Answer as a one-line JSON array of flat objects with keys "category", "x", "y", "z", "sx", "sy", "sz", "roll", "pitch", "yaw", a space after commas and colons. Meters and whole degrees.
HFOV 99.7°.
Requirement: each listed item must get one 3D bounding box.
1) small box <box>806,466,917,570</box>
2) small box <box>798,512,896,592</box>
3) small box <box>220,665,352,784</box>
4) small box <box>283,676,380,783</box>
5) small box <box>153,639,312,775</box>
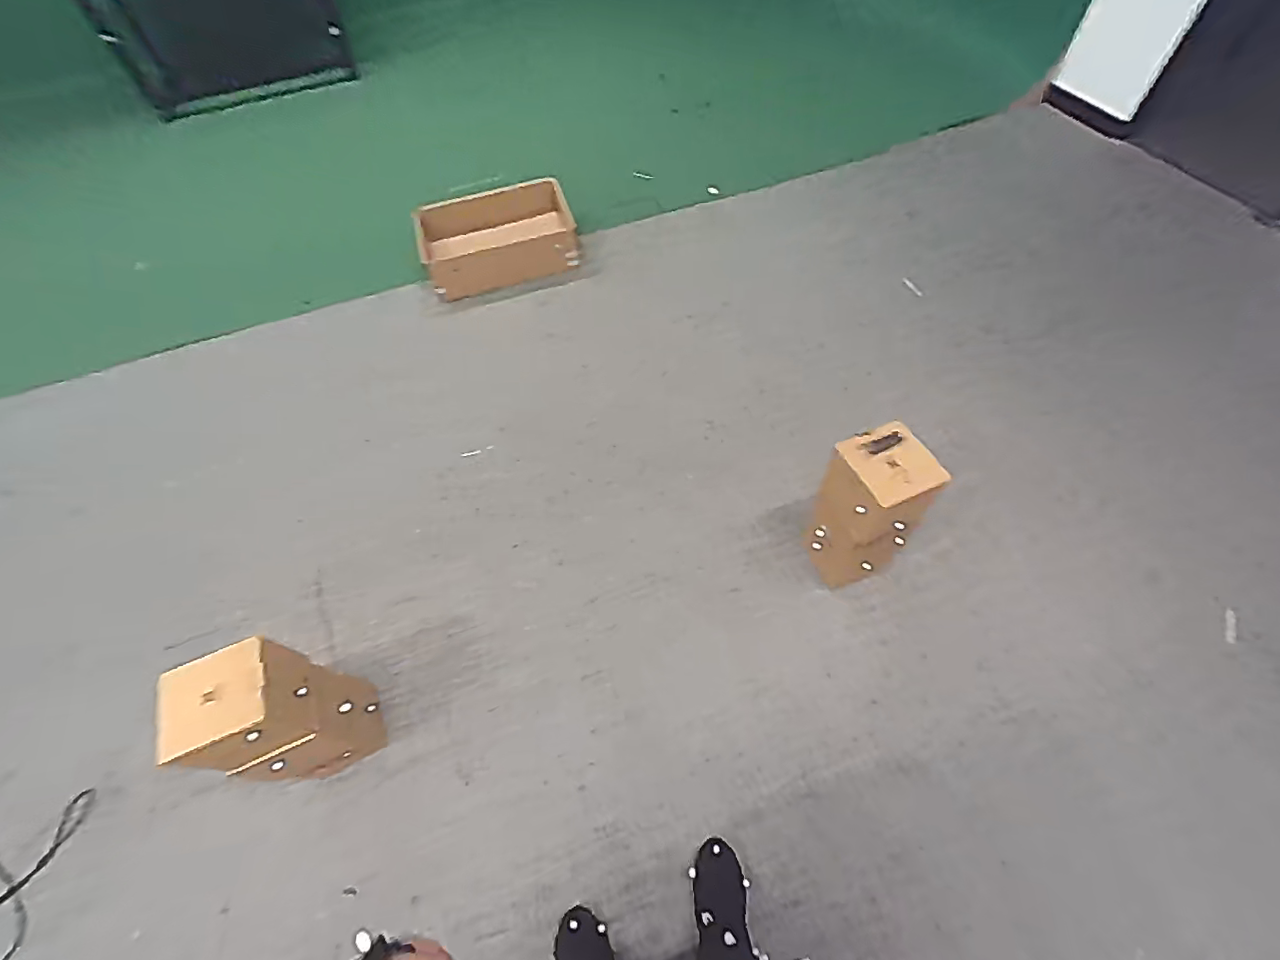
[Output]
[{"category": "small box", "x": 0.536, "y": 0.097, "z": 1.335, "sx": 0.179, "sy": 0.176, "sz": 0.168, "roll": -19, "pitch": 57, "yaw": -6}, {"category": "small box", "x": 0.553, "y": 0.177, "z": 1.476, "sx": 0.168, "sy": 0.176, "sz": 0.179, "roll": -18, "pitch": 57, "yaw": -7}, {"category": "small box", "x": -0.750, "y": 0.527, "z": 1.154, "sx": 0.179, "sy": 0.176, "sz": 0.168, "roll": -22, "pitch": 59, "yaw": -11}, {"category": "small box", "x": -0.750, "y": 0.602, "z": 1.300, "sx": 0.179, "sy": 0.176, "sz": 0.168, "roll": -26, "pitch": 59, "yaw": -11}, {"category": "small box", "x": -0.759, "y": 0.433, "z": 1.021, "sx": 0.179, "sy": 0.176, "sz": 0.168, "roll": -23, "pitch": 58, "yaw": -12}]
